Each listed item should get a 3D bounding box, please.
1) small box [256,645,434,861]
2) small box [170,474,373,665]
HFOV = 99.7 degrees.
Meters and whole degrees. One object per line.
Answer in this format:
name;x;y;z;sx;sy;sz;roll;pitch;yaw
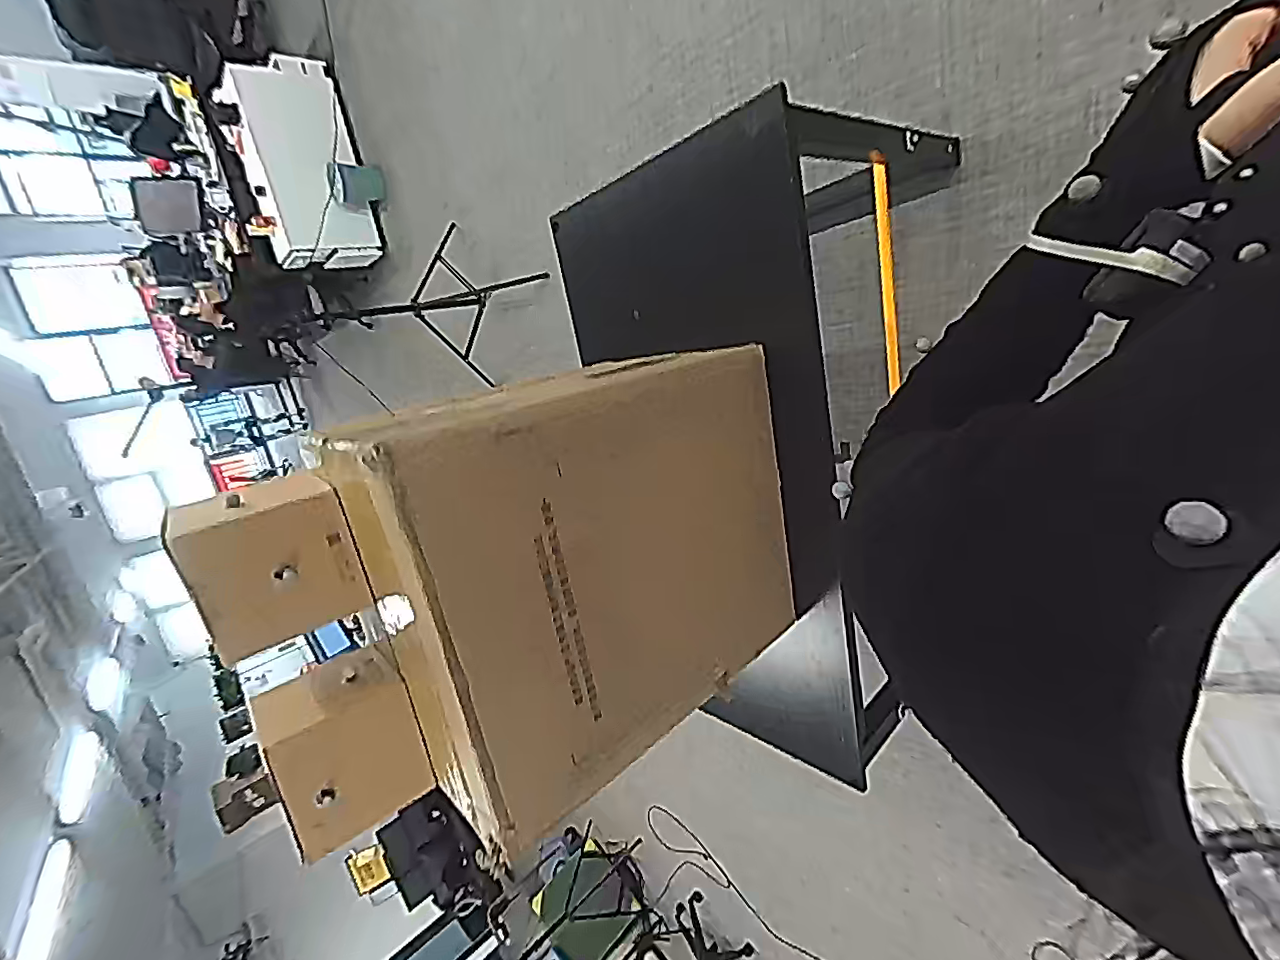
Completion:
small box;-0.410;0.366;0.762;0.168;0.176;0.179;7;111;50
small box;-0.468;0.100;0.700;0.179;0.176;0.168;12;117;49
